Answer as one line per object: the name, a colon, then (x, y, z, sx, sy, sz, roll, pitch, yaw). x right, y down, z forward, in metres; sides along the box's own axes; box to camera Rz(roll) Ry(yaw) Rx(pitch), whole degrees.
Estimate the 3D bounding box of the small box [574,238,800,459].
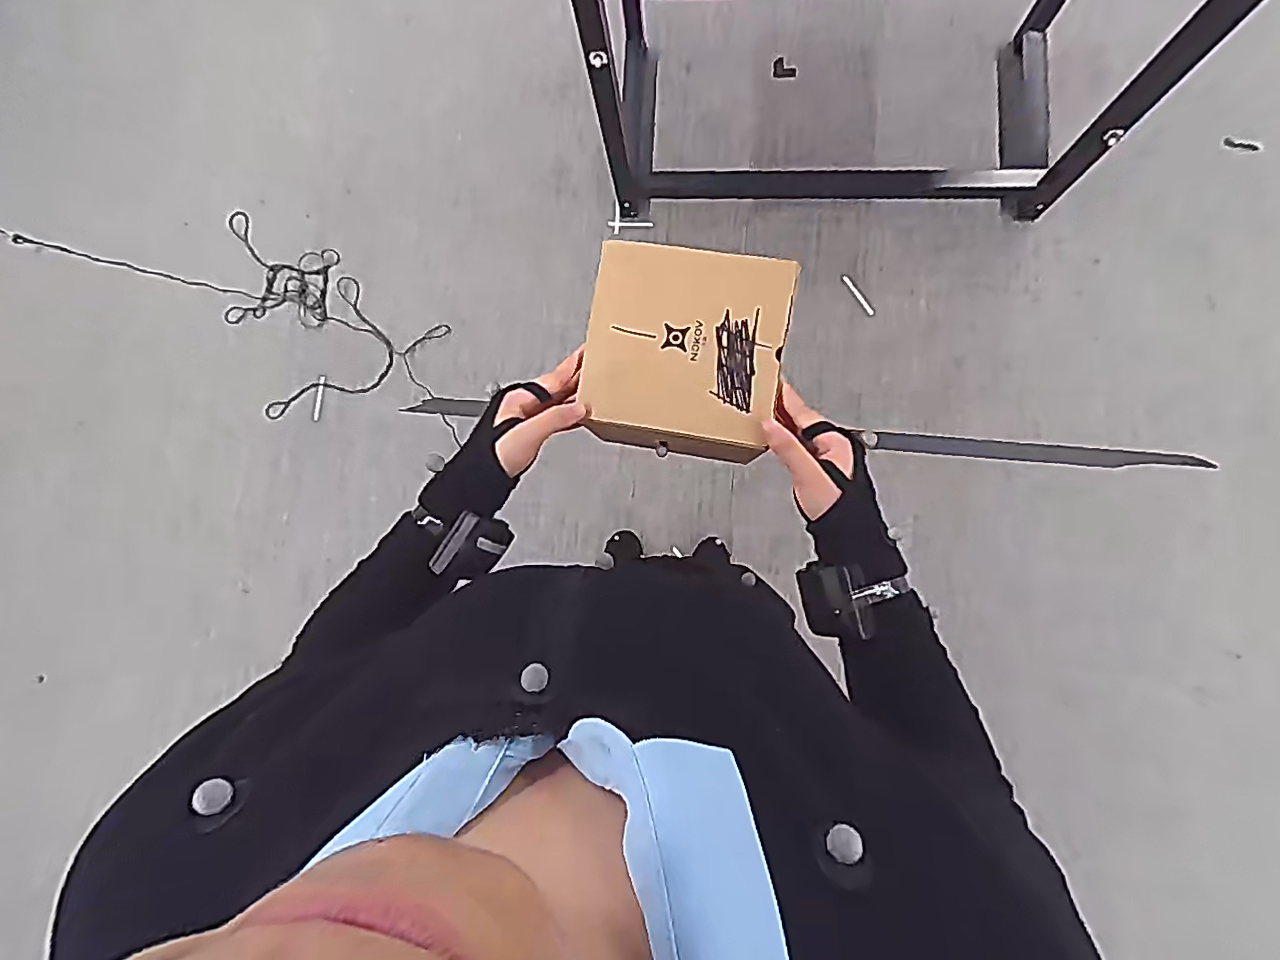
small box: (0.047, -0.118, 0.553, 0.179, 0.176, 0.168, 10, 87, 6)
